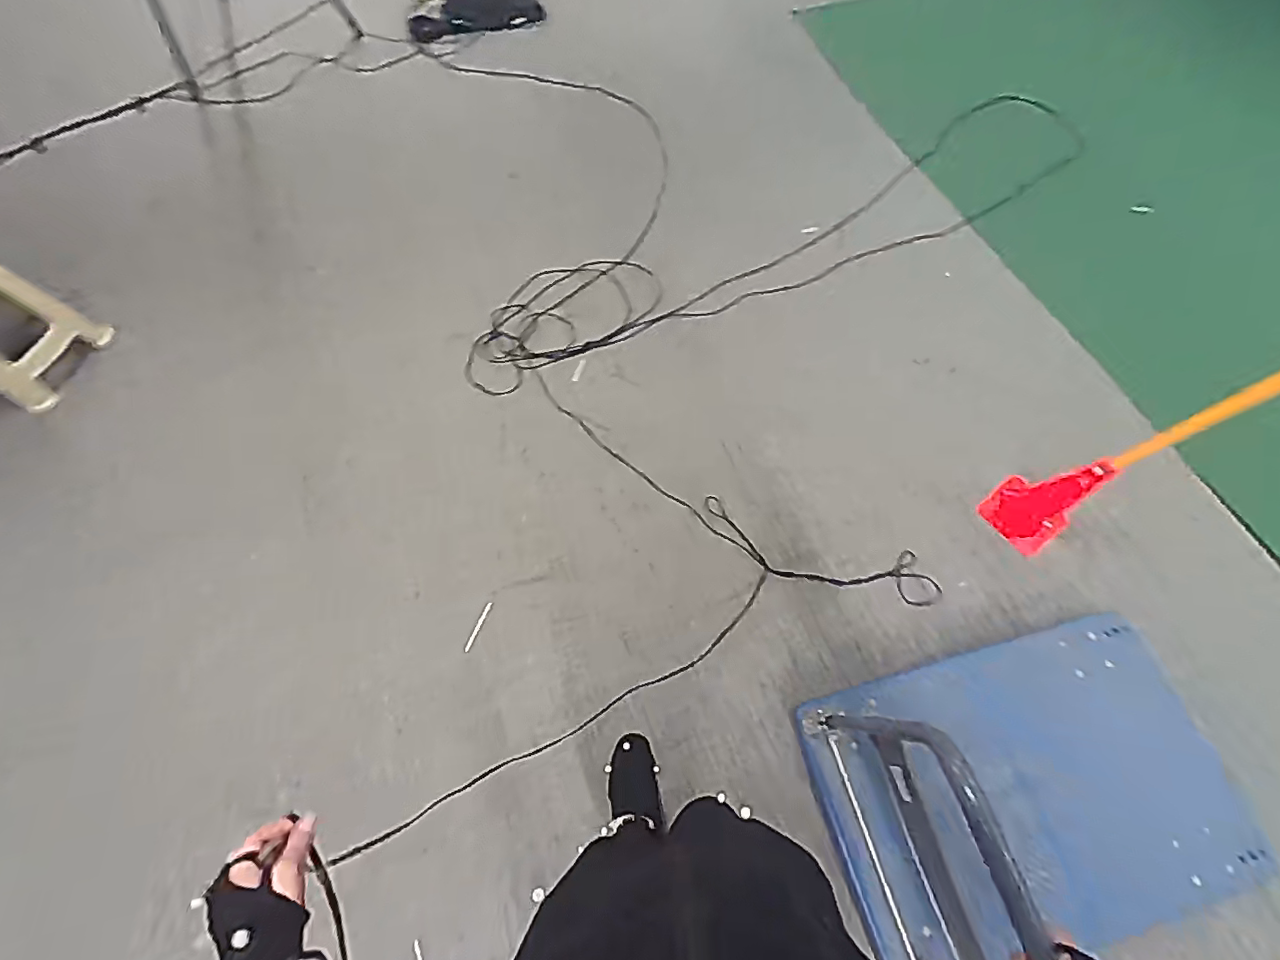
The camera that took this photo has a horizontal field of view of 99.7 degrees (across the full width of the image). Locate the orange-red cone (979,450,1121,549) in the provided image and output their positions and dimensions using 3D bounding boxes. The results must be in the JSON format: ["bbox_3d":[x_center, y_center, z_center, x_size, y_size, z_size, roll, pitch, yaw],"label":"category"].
[{"bbox_3d":[1.145,0.017,1.470,0.198,0.360,0.199,-34,69,-15],"label":"orange-red cone"}]
